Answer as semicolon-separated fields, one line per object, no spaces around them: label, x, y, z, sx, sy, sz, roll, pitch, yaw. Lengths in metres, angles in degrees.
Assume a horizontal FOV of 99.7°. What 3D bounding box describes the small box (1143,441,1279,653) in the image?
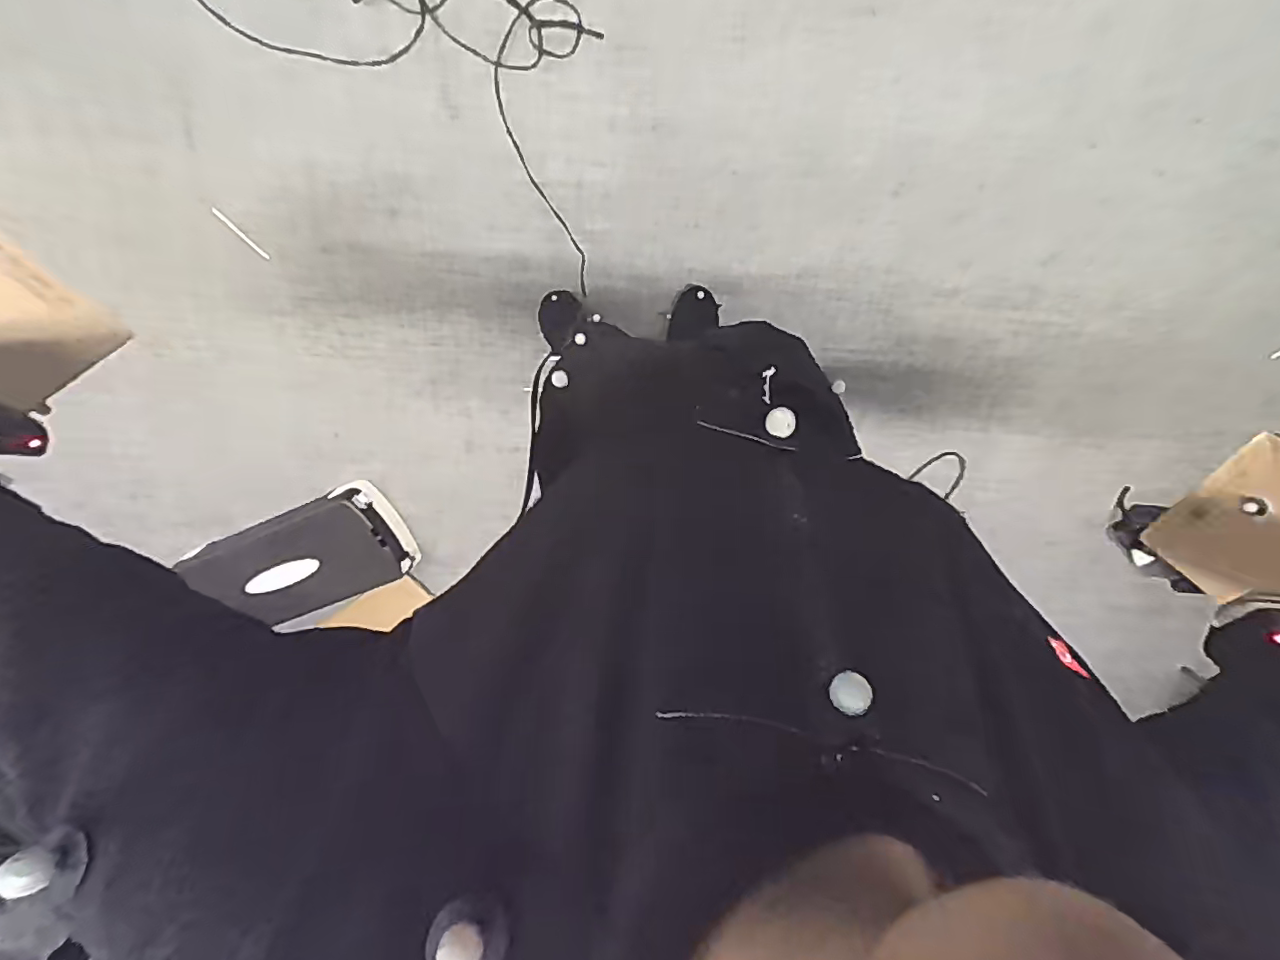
small box;0.732;0.077;0.588;0.179;0.176;0.168;12;125;-16
